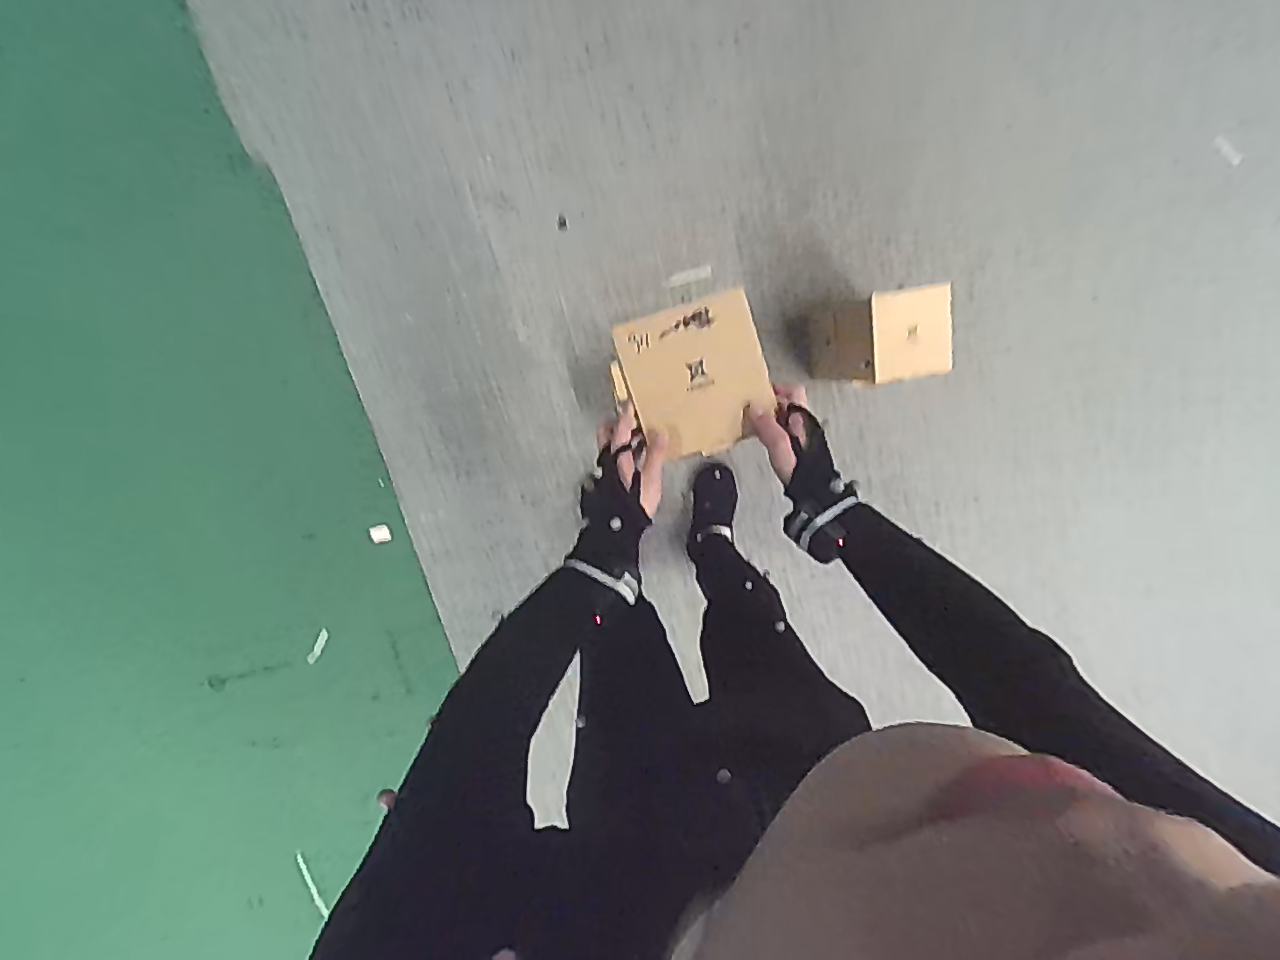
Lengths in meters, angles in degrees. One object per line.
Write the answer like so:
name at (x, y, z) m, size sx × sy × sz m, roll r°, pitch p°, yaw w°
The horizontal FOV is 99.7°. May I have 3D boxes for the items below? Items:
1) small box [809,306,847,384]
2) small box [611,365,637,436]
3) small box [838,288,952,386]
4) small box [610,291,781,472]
small box at (0.523, -0.329, 1.323) m, size 0.168 × 0.176 × 0.179 m, roll -3°, pitch 103°, yaw -1°
small box at (0.027, -0.207, 1.316) m, size 0.179 × 0.176 × 0.168 m, roll -10°, pitch 103°, yaw -2°
small box at (0.541, -0.302, 1.166) m, size 0.168 × 0.176 × 0.179 m, roll -10°, pitch 103°, yaw -3°
small box at (0.065, -0.123, 0.709) m, size 0.168 × 0.176 × 0.179 m, roll -18°, pitch 97°, yaw -1°
